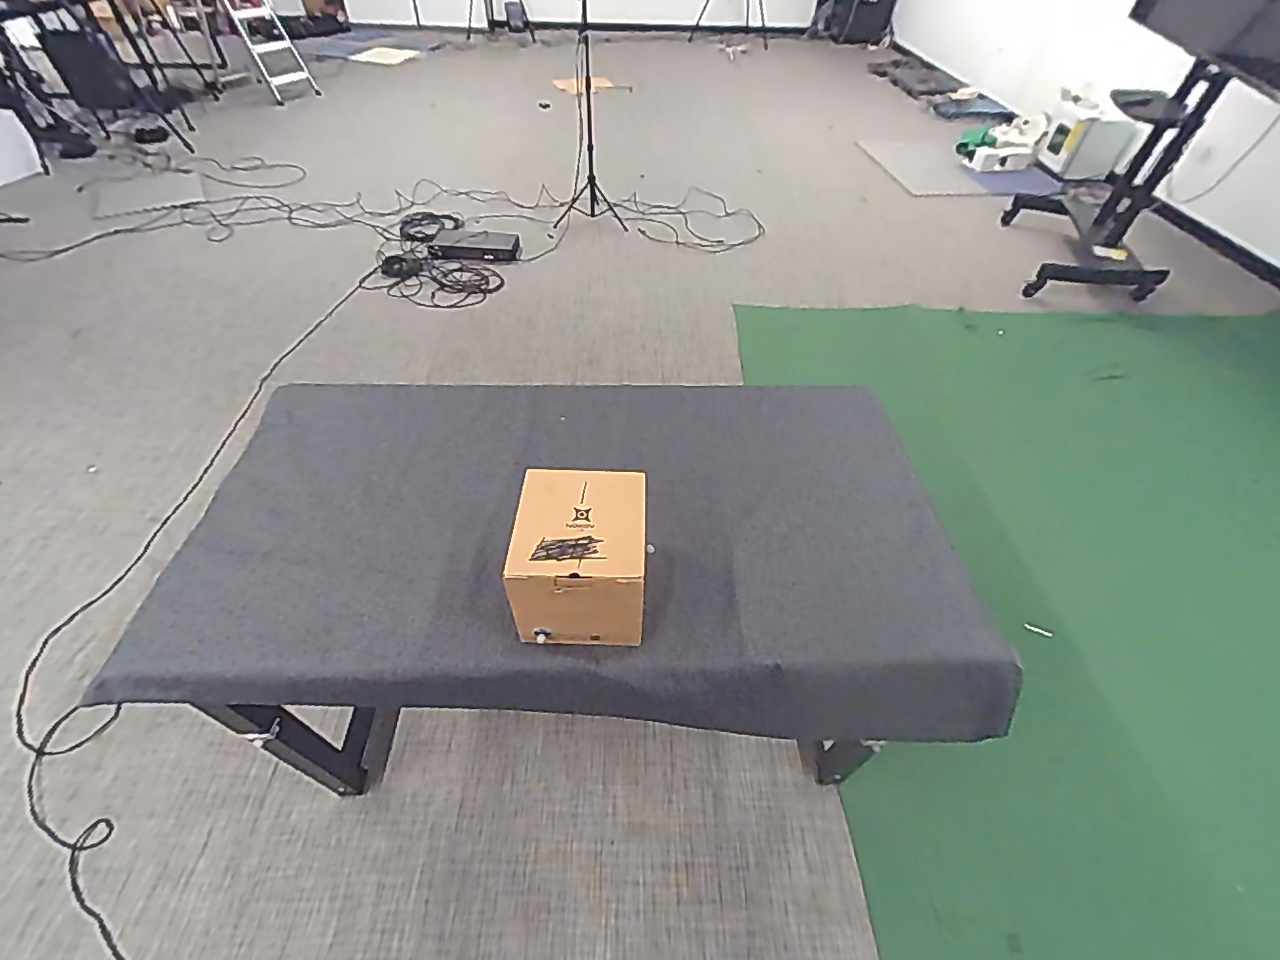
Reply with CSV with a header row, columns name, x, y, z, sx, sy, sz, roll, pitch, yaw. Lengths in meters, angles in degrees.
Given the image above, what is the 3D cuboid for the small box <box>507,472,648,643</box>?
name,x,y,z,sx,sy,sz,roll,pitch,yaw
small box,-0.075,0.111,0.753,0.168,0.176,0.179,3,46,0
